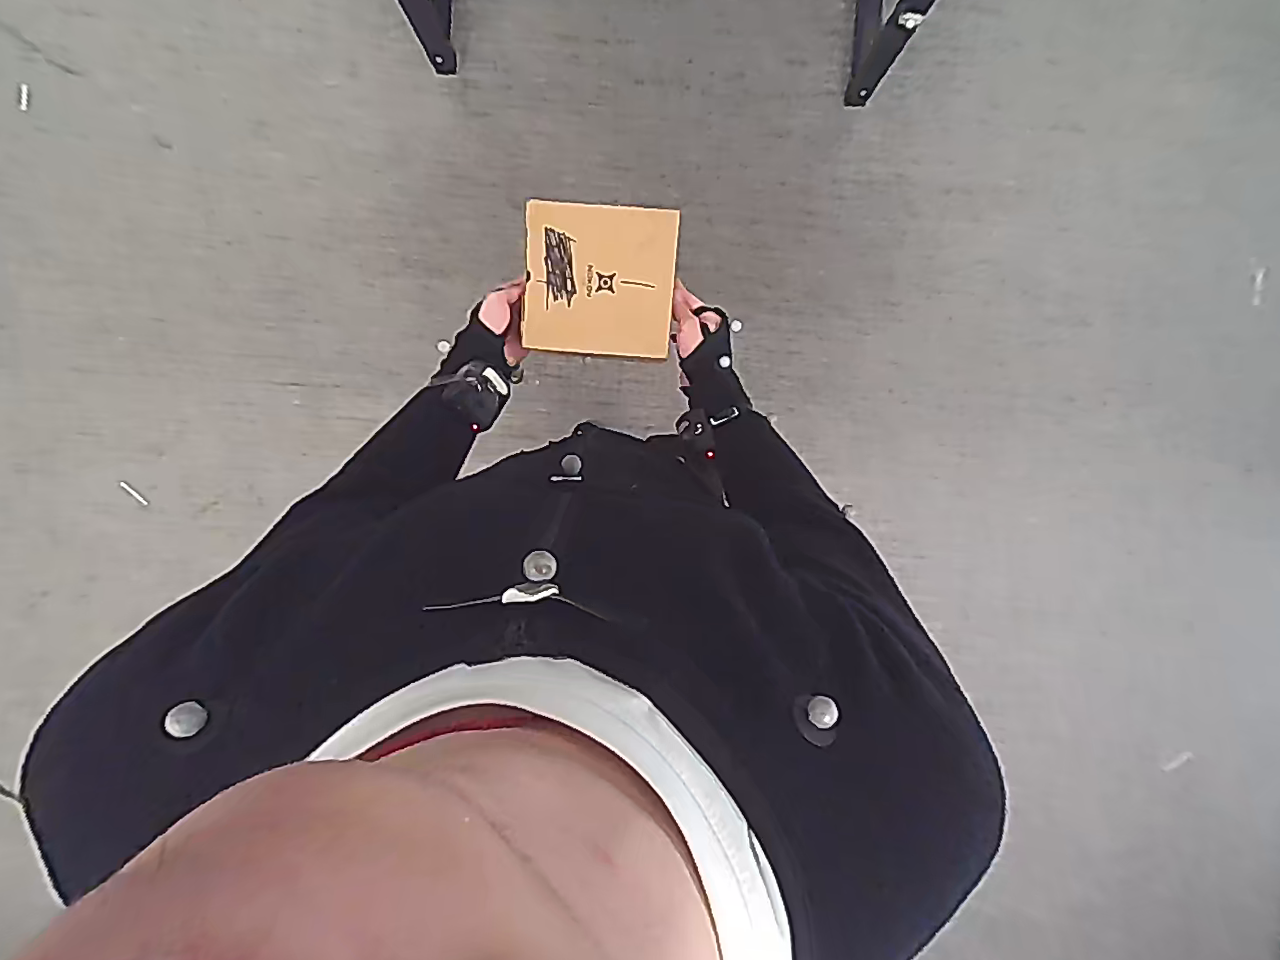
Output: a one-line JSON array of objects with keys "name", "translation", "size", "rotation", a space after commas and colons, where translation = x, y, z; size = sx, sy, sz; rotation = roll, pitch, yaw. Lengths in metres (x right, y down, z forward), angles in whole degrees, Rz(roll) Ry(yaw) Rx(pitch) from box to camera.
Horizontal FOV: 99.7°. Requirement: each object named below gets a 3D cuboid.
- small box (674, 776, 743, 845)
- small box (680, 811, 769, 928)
[{"name": "small box", "translation": [0.210, 0.999, 1.566], "size": [0.179, 0.176, 0.168], "rotation": [-19, 97, -1]}, {"name": "small box", "translation": [0.211, 1.006, 1.411], "size": [0.179, 0.176, 0.168], "rotation": [16, 96, -4]}]
